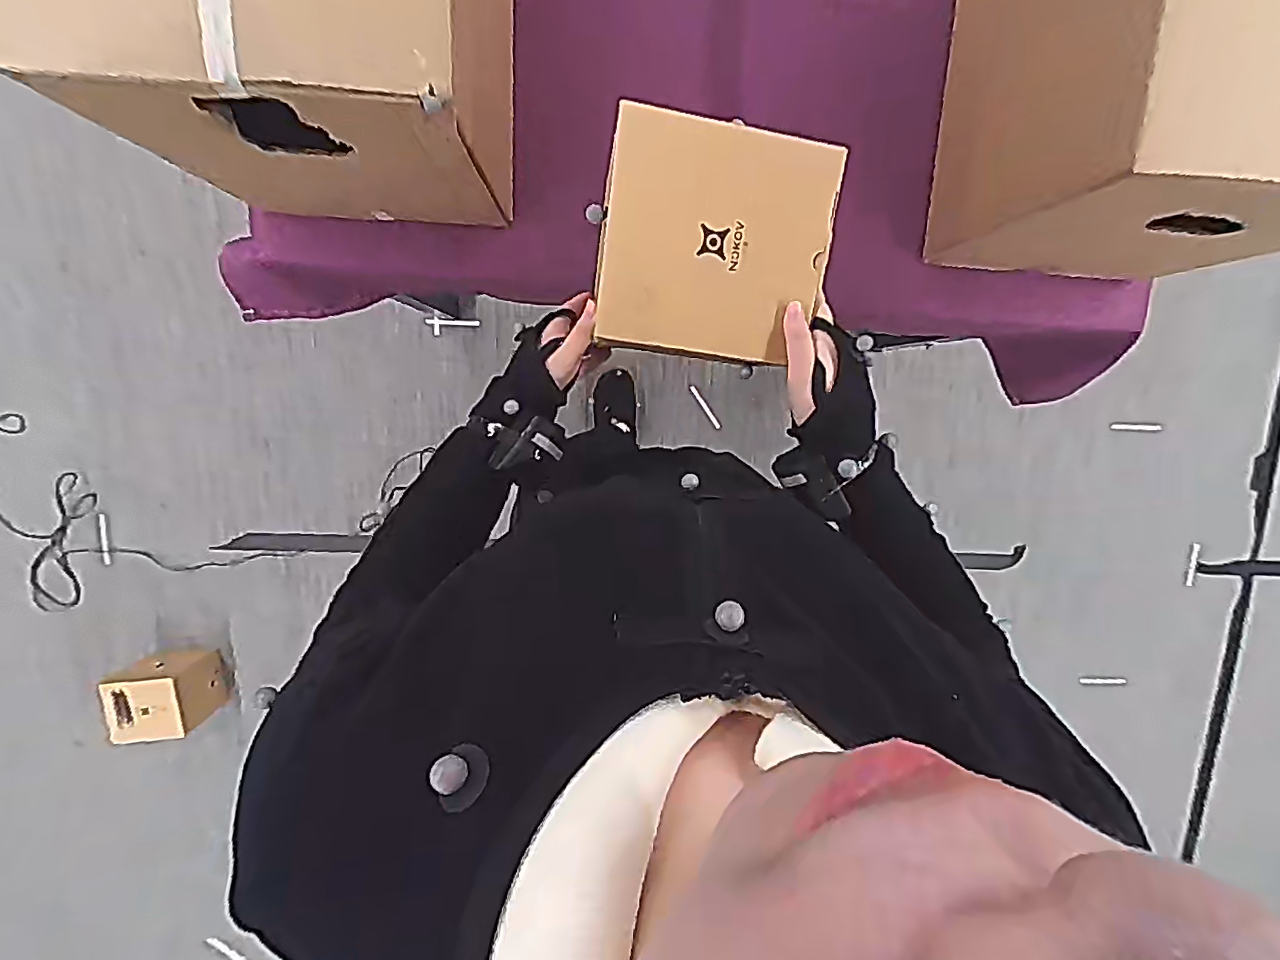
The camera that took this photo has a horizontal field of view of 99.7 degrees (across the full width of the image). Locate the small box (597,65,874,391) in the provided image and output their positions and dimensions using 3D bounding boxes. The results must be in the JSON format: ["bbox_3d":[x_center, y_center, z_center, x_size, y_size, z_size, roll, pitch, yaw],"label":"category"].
[{"bbox_3d":[0.071,-0.184,0.452,0.168,0.176,0.179,1,85,-27],"label":"small box"}]
